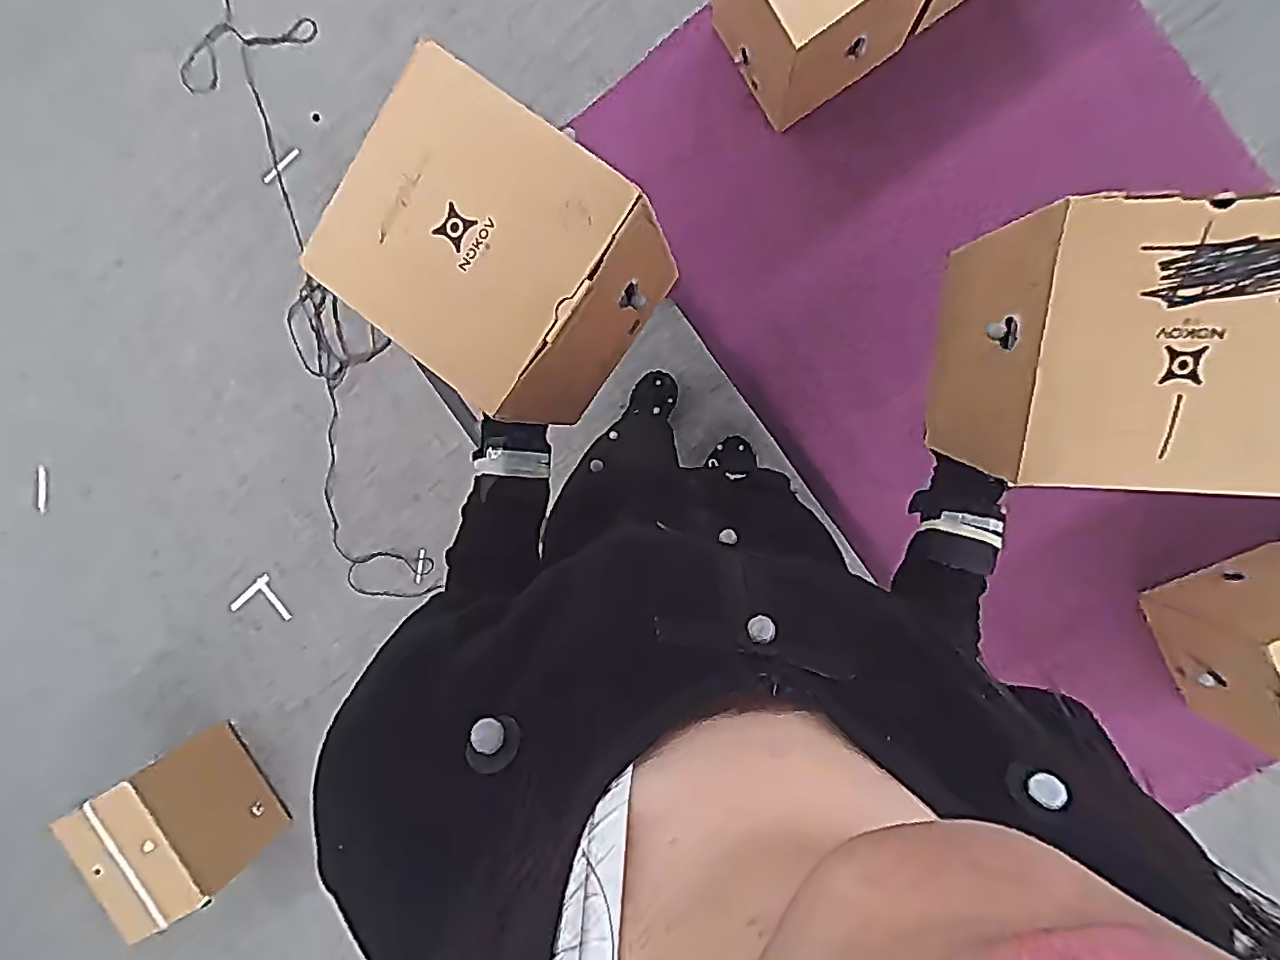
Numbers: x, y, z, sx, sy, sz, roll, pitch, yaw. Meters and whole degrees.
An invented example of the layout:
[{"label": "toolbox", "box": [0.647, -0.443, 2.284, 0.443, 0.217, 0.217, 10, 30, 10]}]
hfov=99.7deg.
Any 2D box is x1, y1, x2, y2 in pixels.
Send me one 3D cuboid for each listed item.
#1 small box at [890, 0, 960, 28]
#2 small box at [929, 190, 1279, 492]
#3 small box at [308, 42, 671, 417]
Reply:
[{"label": "small box", "box": [0.355, -0.654, 0.573, 0.179, 0.176, 0.168, -32, 91, 9]}, {"label": "small box", "box": [0.341, -0.098, 0.408, 0.168, 0.176, 0.179, 3, 103, 8]}, {"label": "small box", "box": [-0.093, -0.163, 0.417, 0.179, 0.176, 0.168, 38, 99, 6]}]
